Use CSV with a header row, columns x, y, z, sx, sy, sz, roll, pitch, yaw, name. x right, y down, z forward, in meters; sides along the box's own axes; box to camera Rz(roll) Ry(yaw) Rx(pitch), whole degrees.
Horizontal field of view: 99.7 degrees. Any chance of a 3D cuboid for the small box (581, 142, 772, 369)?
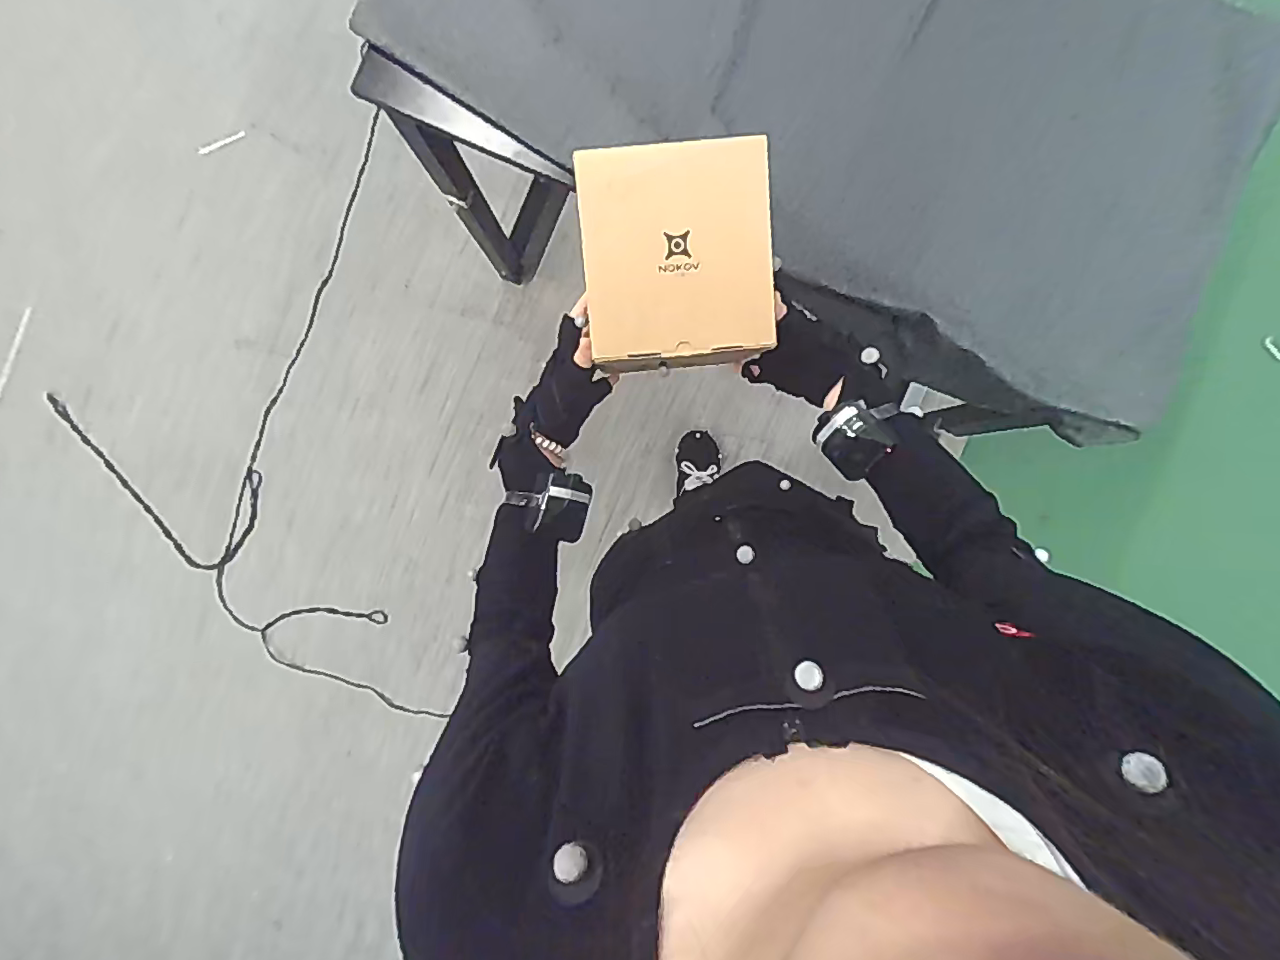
x,y,z,sx,sy,sz,roll,pitch,yaw,name
0.030,-0.213,0.555,0.168,0.176,0.179,-4,98,-1,small box
